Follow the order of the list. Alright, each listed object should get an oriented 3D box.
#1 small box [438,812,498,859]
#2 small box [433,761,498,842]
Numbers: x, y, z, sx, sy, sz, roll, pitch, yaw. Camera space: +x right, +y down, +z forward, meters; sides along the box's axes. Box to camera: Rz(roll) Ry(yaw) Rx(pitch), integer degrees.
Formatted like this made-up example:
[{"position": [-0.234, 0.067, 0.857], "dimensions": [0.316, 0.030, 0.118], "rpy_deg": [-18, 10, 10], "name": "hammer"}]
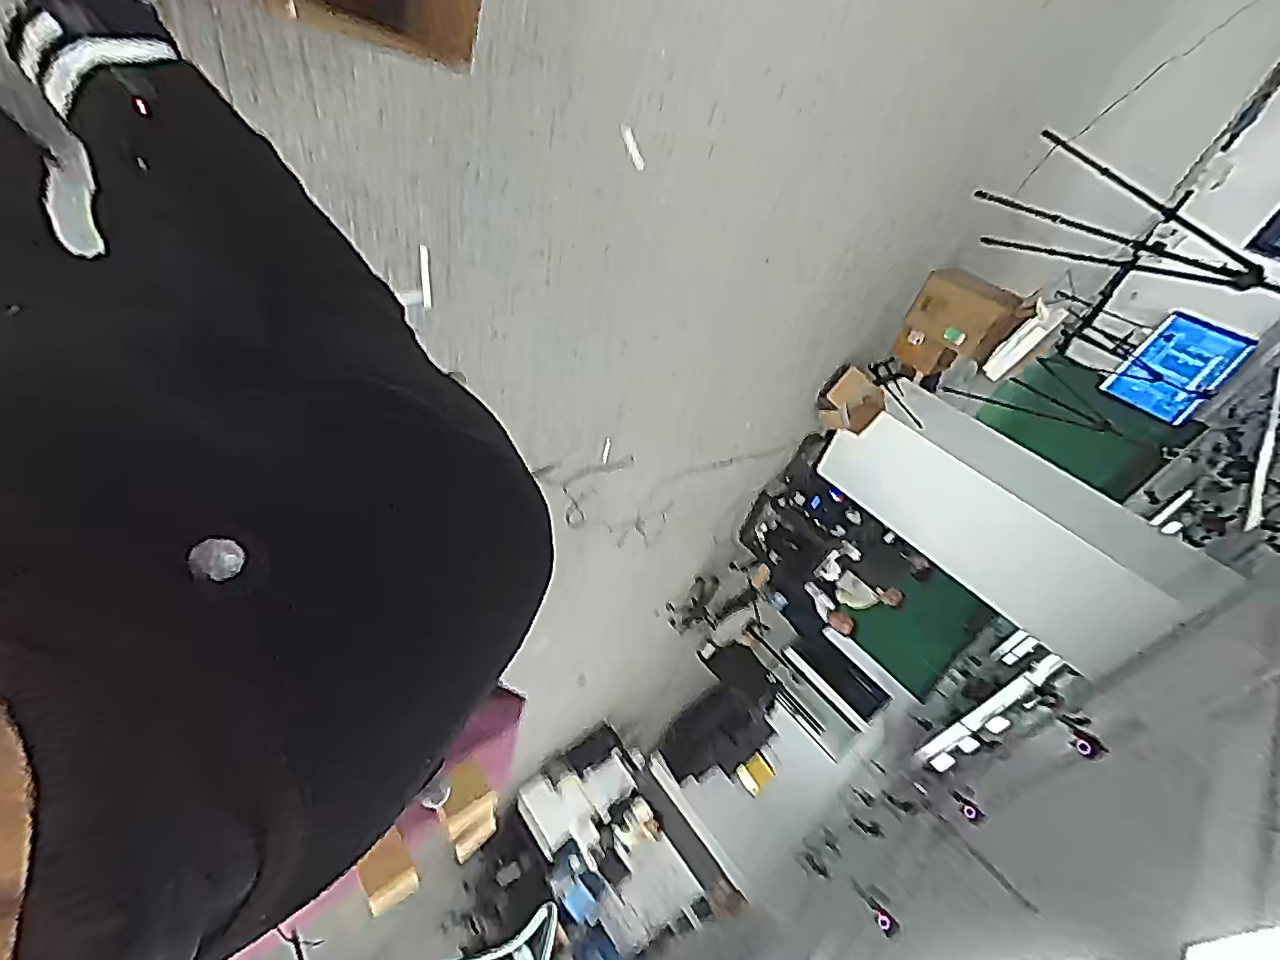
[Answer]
[{"position": [-0.695, 1.375, 2.187], "dimensions": [0.179, 0.176, 0.168], "rpy_deg": [-24, 142, -35], "name": "small box"}, {"position": [-0.656, 1.199, 2.027], "dimensions": [0.179, 0.176, 0.168], "rpy_deg": [-22, 142, -36], "name": "small box"}]
